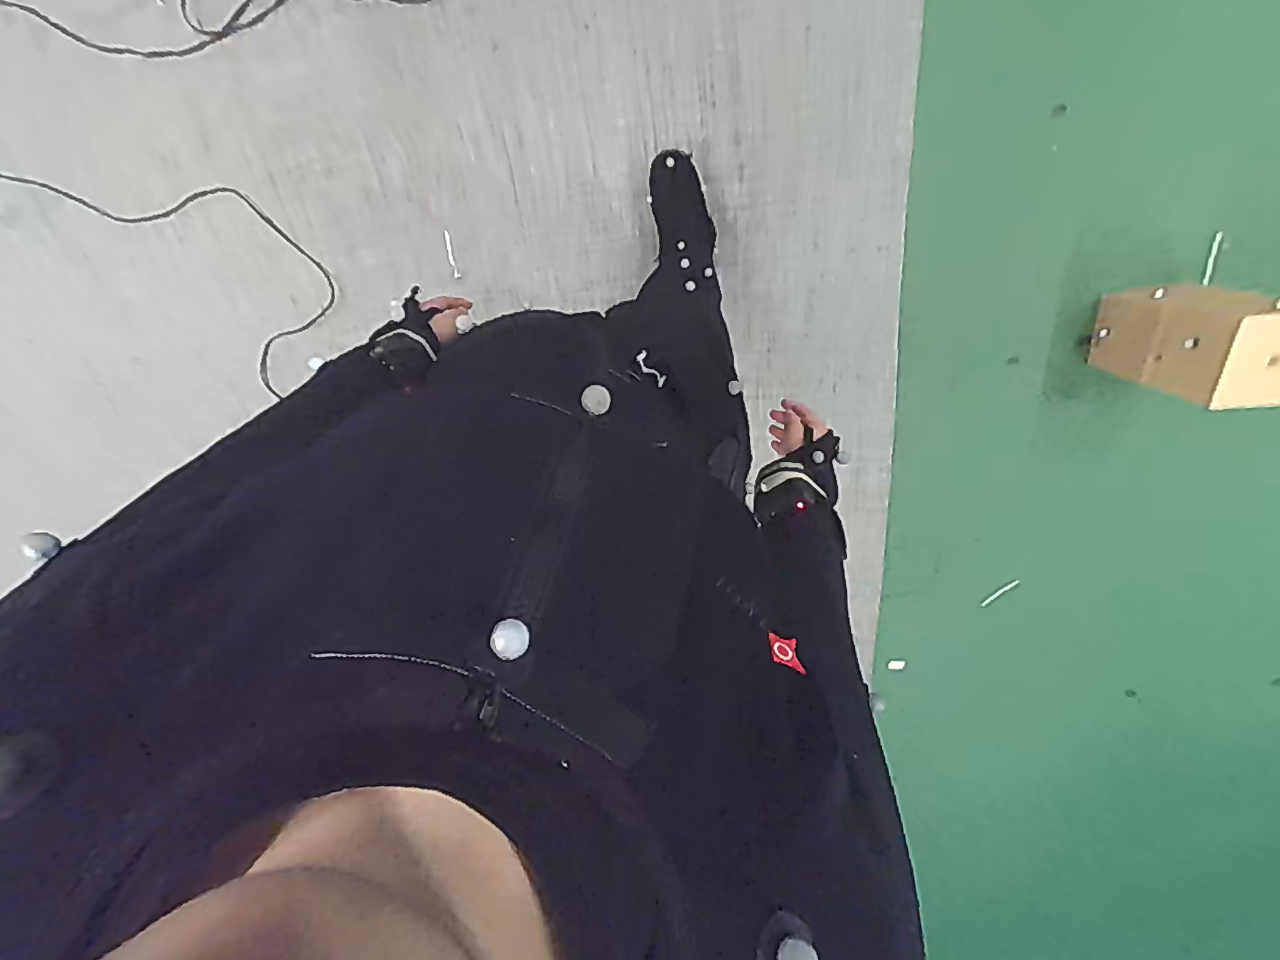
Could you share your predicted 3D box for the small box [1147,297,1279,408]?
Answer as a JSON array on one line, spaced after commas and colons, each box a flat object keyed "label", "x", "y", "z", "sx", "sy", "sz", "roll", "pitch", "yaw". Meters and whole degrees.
[{"label": "small box", "x": 1.115, "y": -0.241, "z": 1.007, "sx": 0.179, "sy": 0.176, "sz": 0.168, "roll": -4, "pitch": 115, "yaw": 4}]
